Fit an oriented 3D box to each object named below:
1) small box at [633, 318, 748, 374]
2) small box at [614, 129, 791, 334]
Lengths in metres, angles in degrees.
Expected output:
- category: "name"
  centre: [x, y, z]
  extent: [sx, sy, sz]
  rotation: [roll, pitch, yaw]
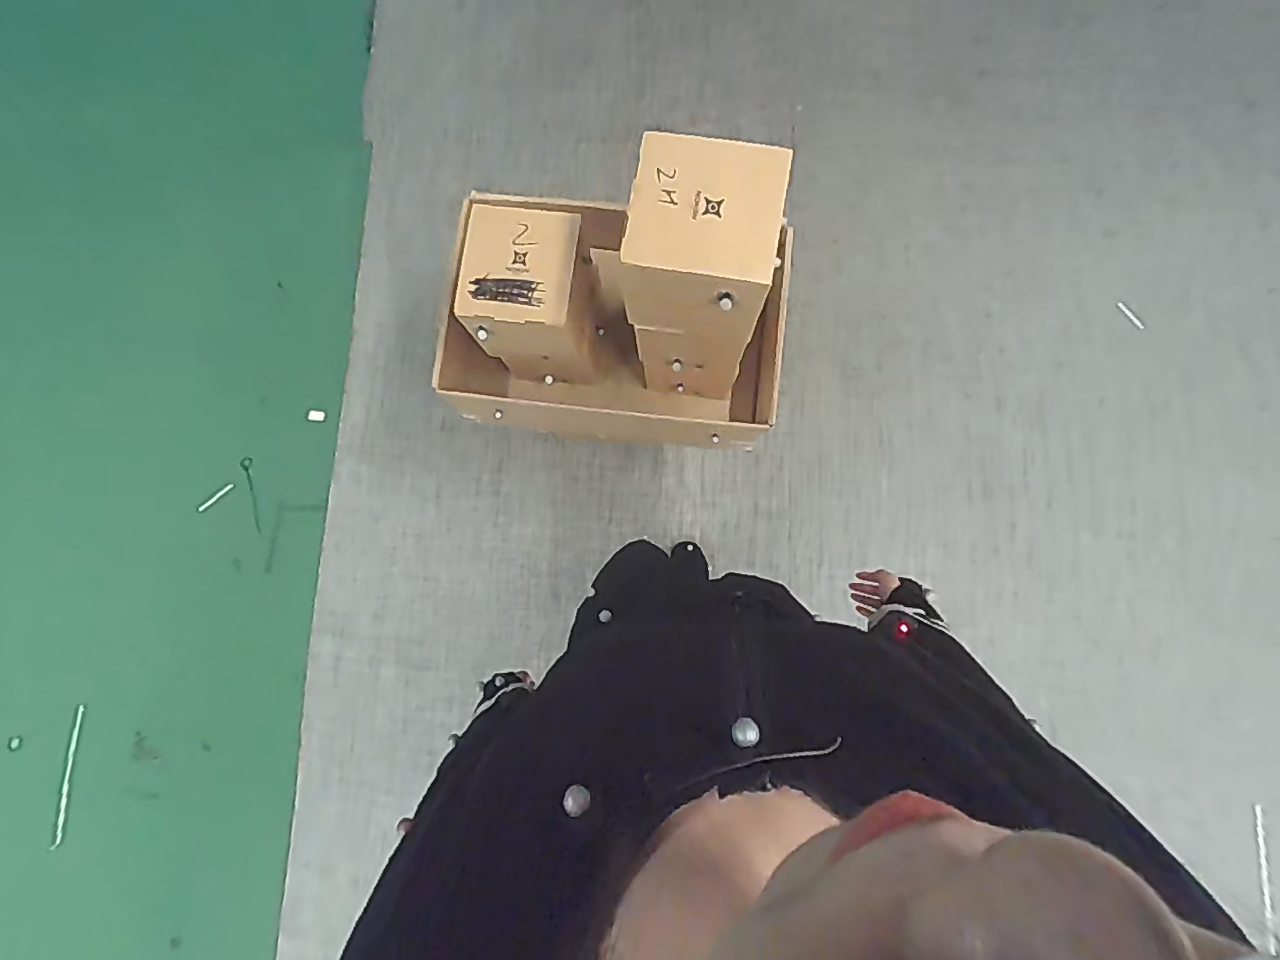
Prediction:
- category: "small box"
  centre: [0.087, -0.285, 0.850]
  extent: [0.168, 0.176, 0.179]
  rotation: [9, 85, 5]
- category: "small box"
  centre: [0.077, -0.300, 0.686]
  extent: [0.179, 0.176, 0.168]
  rotation: [10, 84, 6]
